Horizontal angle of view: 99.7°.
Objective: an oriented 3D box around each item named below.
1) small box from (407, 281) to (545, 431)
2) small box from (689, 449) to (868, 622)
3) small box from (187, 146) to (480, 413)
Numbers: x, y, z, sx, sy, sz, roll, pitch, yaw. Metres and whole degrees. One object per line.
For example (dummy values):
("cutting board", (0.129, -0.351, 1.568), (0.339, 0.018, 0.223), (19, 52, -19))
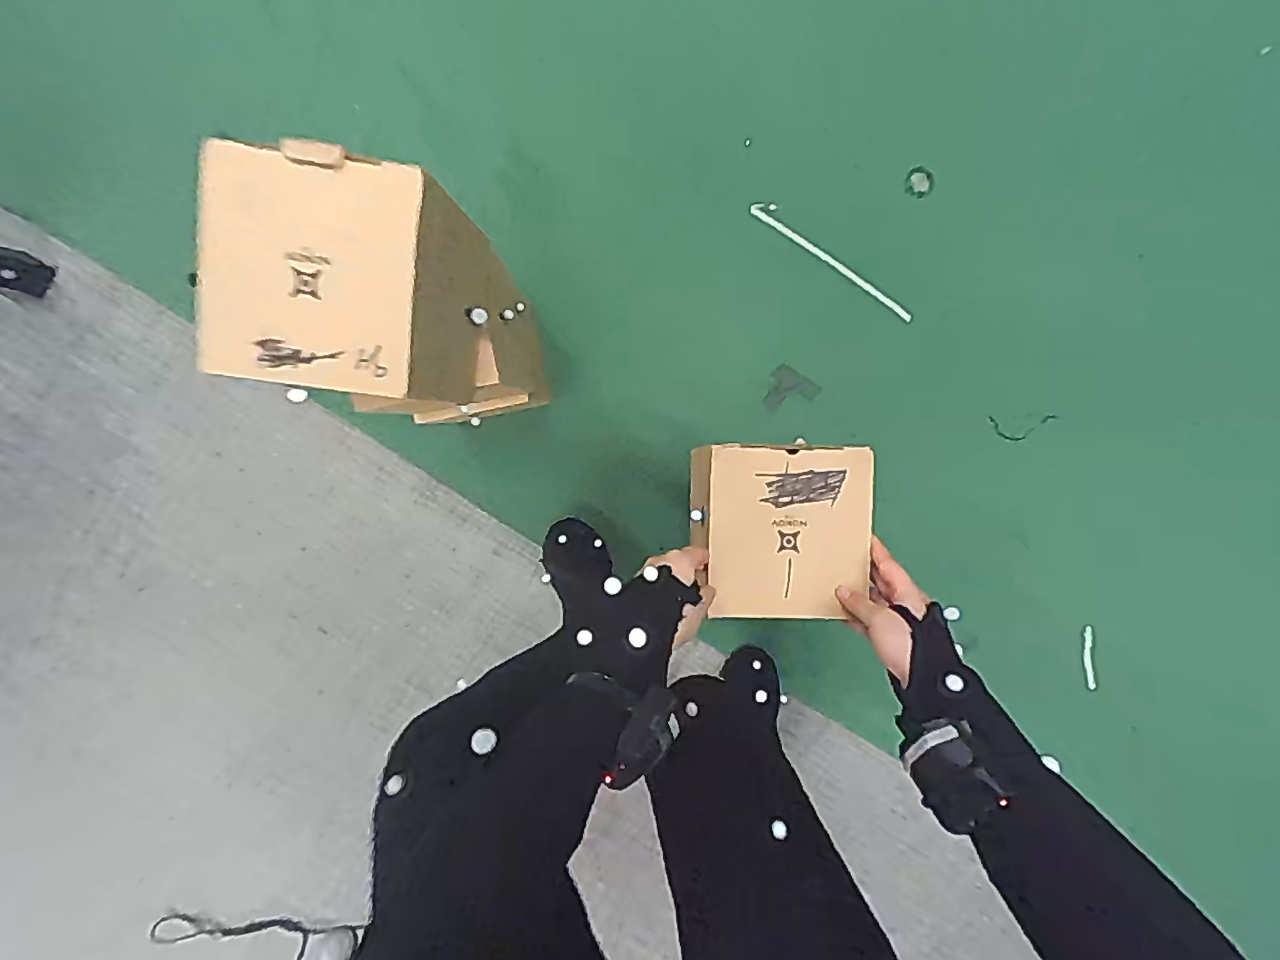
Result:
("small box", (-0.251, -0.177, 0.813), (0.168, 0.176, 0.179), (-12, 96, 2))
("small box", (0.146, 0.054, 0.627), (0.168, 0.176, 0.179), (0, 93, 0))
("small box", (-0.252, -0.158, 0.484), (0.168, 0.176, 0.179), (7, 97, 0))
